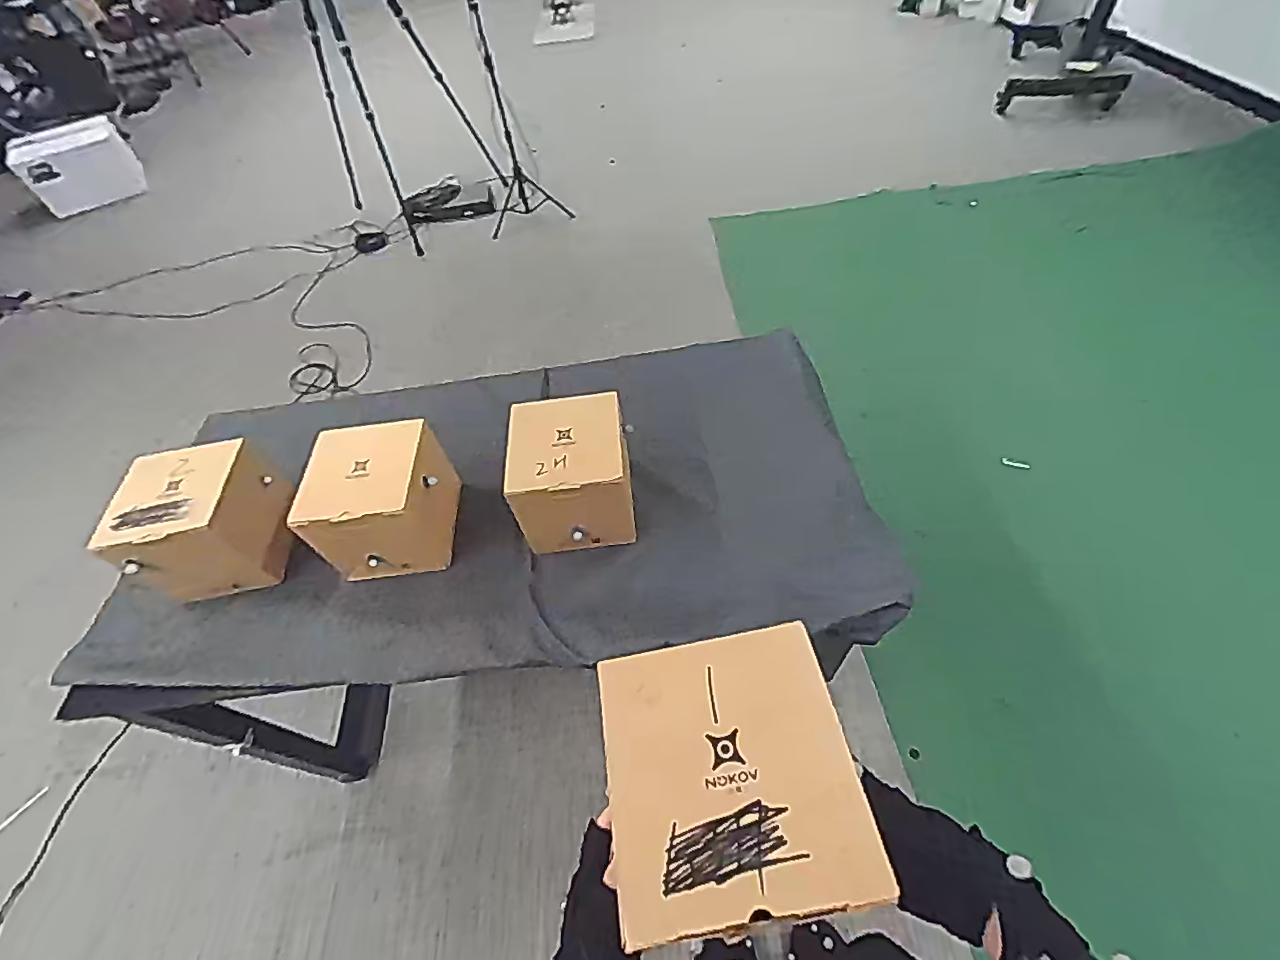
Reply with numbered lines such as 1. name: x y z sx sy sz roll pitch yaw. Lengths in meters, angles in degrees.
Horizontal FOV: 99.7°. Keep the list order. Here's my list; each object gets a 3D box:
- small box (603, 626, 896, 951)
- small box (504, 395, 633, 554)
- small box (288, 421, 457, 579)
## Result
1. small box: 0.072 0.242 0.429 0.168 0.176 0.179 -11 51 2
2. small box: -0.102 -0.007 0.841 0.168 0.176 0.179 -7 53 1
3. small box: -0.398 0.033 0.844 0.168 0.176 0.179 -7 53 0
